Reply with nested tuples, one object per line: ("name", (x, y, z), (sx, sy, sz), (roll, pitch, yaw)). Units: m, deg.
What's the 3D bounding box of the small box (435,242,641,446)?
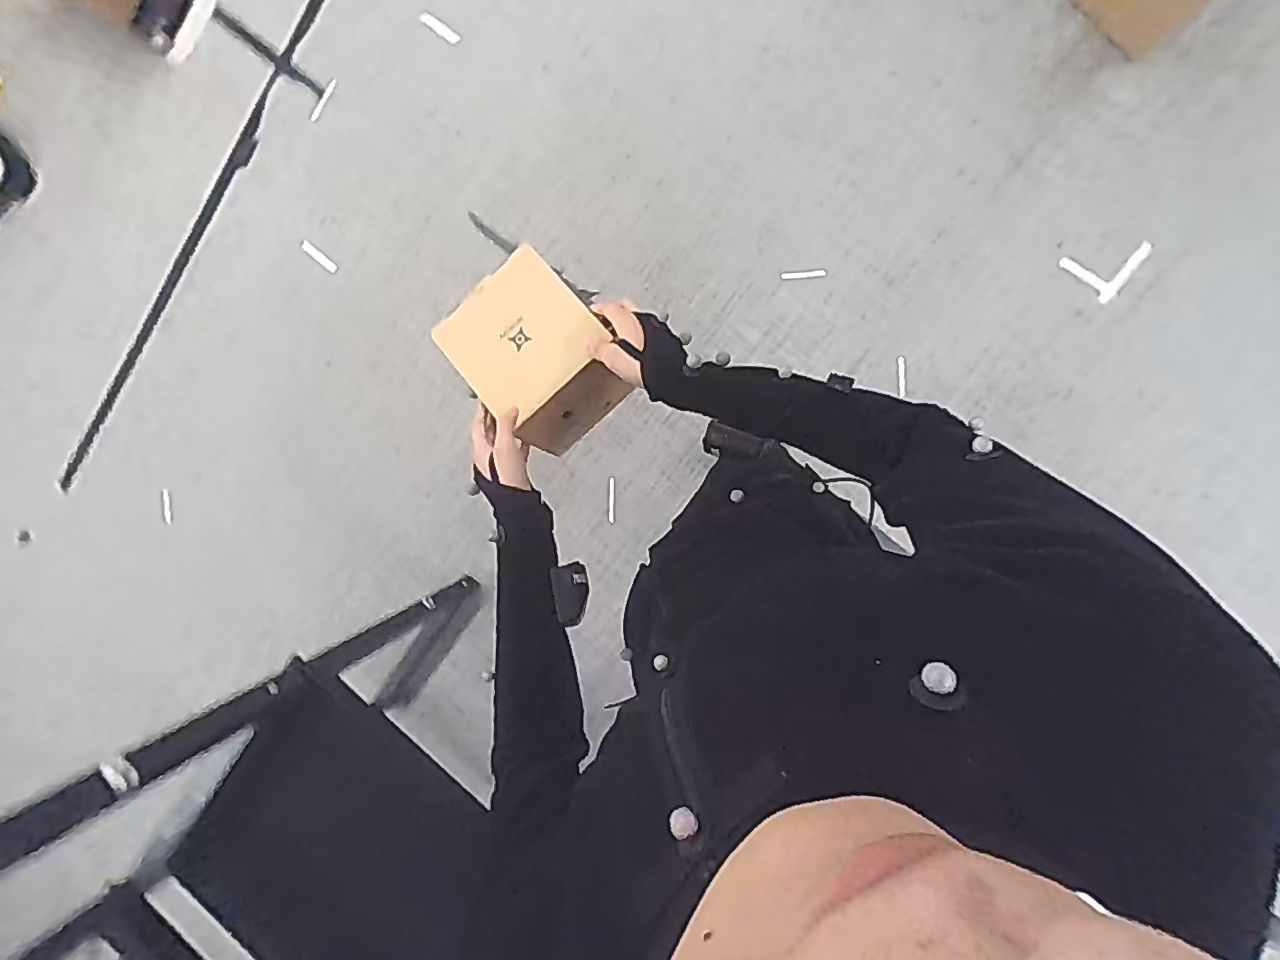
("small box", (-0.120, -0.161, 0.710), (0.168, 0.176, 0.179), (-42, 76, 4))
